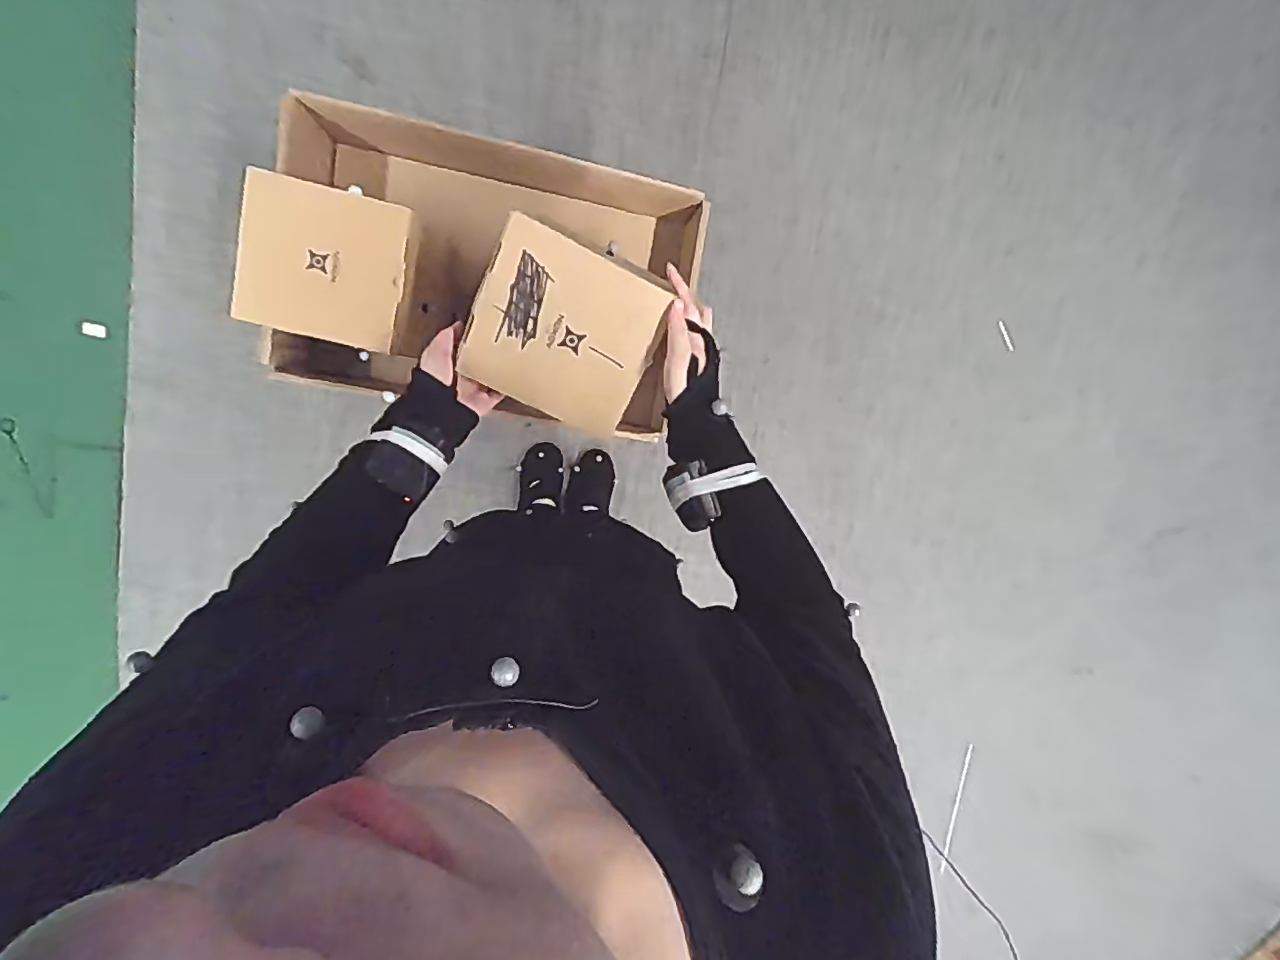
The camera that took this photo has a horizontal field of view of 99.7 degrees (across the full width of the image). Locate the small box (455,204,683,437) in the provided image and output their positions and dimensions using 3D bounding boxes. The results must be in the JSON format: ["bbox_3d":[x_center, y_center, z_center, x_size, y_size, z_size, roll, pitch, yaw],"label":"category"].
[{"bbox_3d":[-0.073,-0.177,0.597,0.179,0.176,0.168,25,113,-12],"label":"small box"}]

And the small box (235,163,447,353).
[{"bbox_3d":[-0.364,-0.262,0.686,0.179,0.176,0.168,11,99,-10],"label":"small box"}]

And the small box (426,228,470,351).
[{"bbox_3d":[-0.380,-0.302,0.843,0.179,0.176,0.168,11,98,-10],"label":"small box"}]
